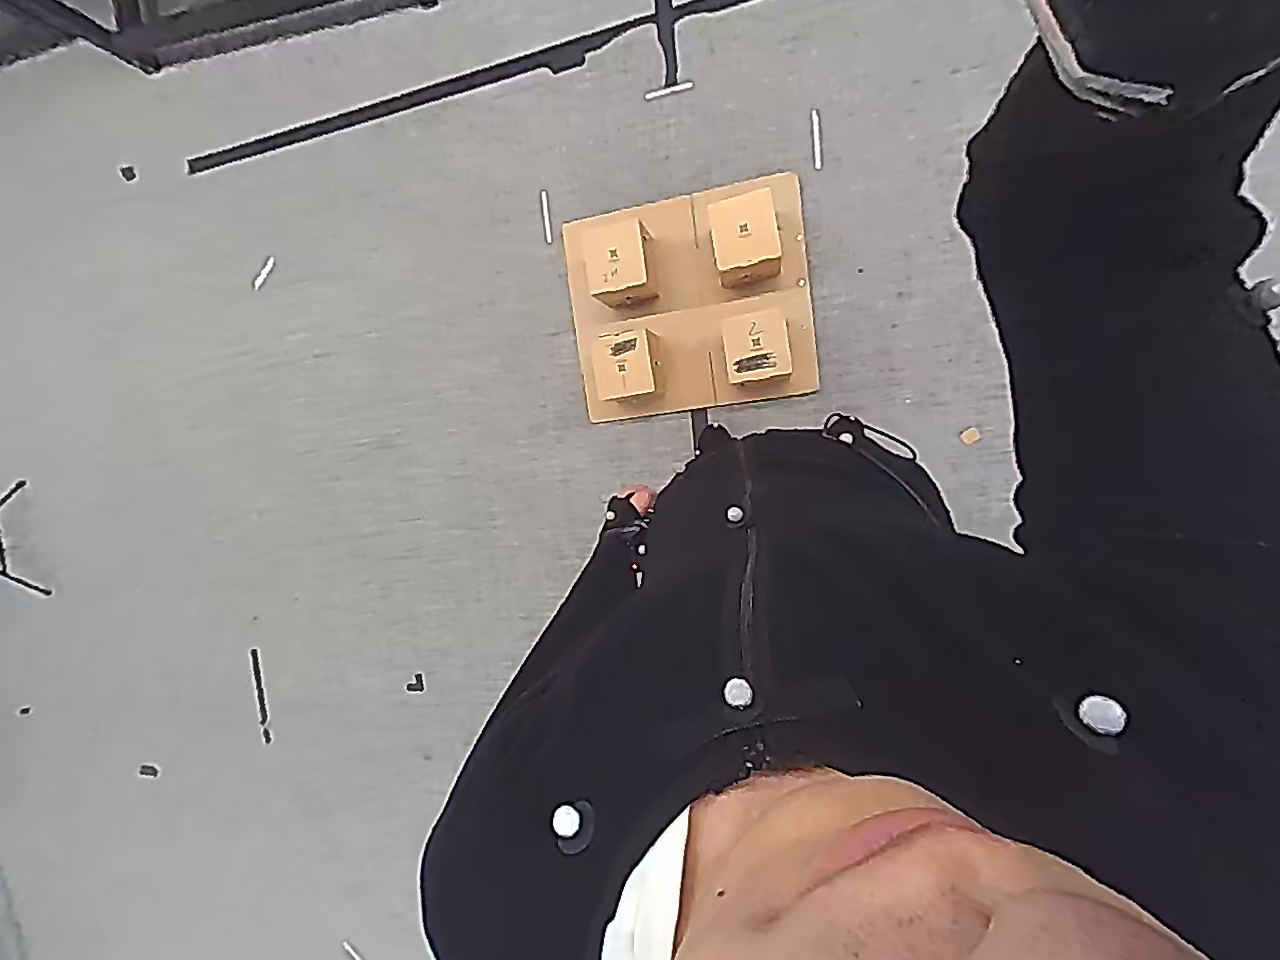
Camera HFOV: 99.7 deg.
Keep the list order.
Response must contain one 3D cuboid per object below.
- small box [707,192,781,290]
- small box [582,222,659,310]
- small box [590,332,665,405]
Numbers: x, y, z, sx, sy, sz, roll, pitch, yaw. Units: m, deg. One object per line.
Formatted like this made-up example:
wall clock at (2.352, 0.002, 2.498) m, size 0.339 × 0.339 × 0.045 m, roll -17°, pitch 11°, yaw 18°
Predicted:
small box at (0.282, -0.635, 1.459) m, size 0.168 × 0.176 × 0.179 m, roll -10°, pitch 94°, yaw 14°
small box at (-0.051, -0.600, 1.536) m, size 0.168 × 0.176 × 0.179 m, roll -7°, pitch 95°, yaw 15°
small box at (-0.031, -0.317, 1.565) m, size 0.168 × 0.176 × 0.179 m, roll -8°, pitch 96°, yaw 15°
